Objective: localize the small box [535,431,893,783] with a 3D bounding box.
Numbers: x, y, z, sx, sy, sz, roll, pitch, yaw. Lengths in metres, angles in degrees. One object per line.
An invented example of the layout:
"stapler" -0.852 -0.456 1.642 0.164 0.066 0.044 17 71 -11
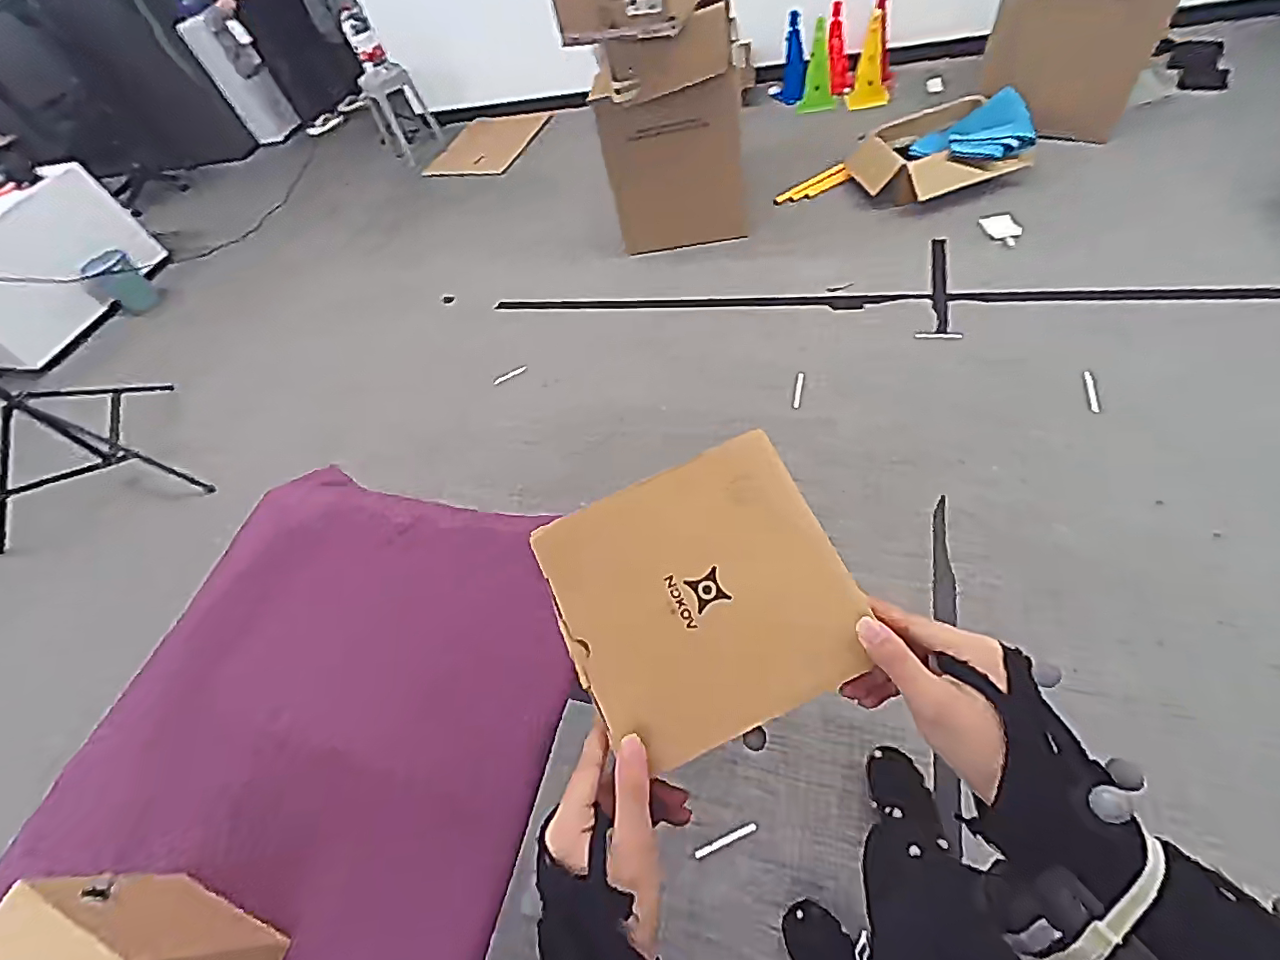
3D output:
"small box" 0.047 0.093 0.413 0.179 0.176 0.168 -26 71 -1
